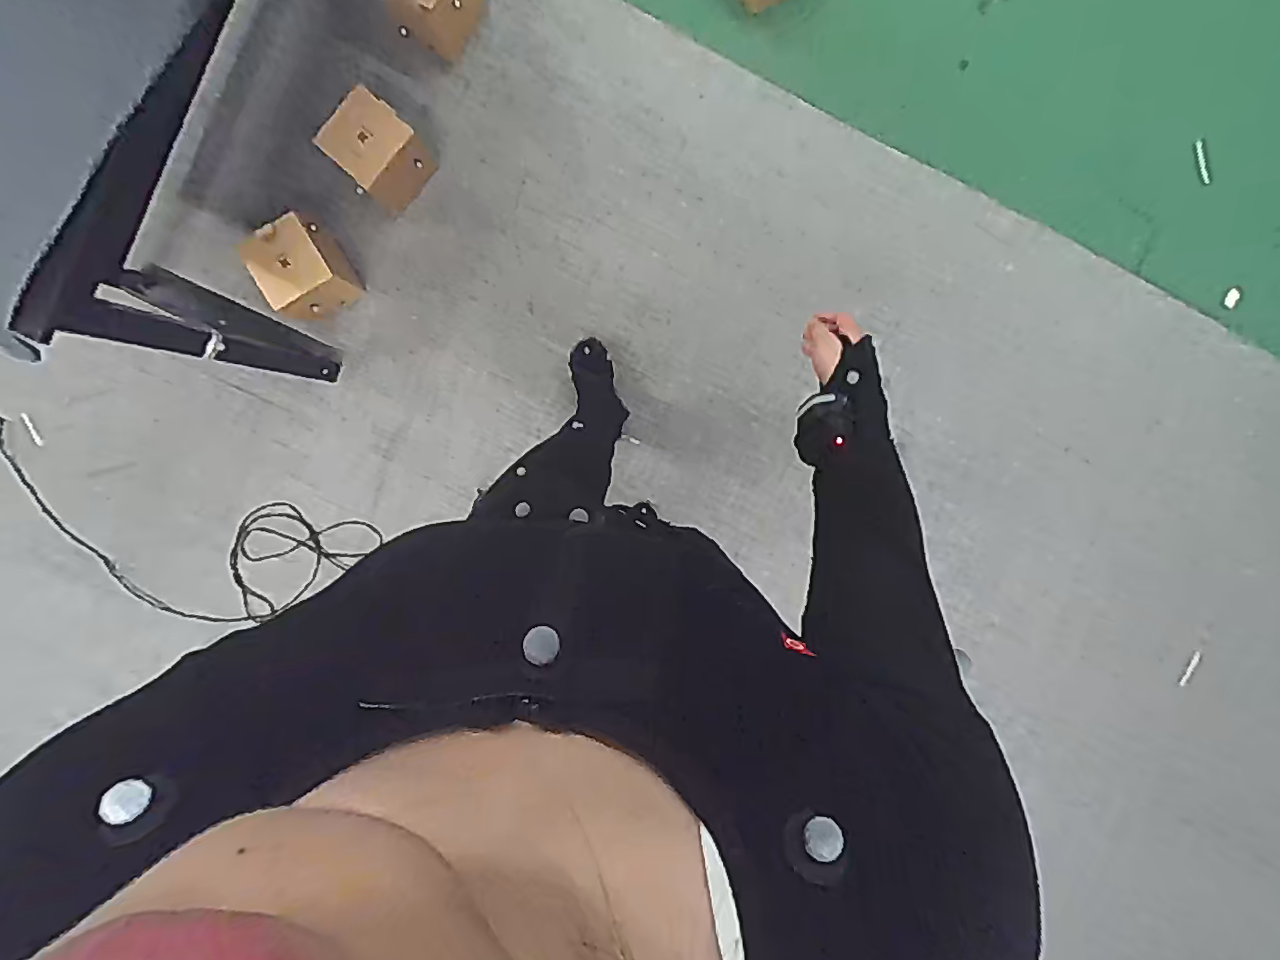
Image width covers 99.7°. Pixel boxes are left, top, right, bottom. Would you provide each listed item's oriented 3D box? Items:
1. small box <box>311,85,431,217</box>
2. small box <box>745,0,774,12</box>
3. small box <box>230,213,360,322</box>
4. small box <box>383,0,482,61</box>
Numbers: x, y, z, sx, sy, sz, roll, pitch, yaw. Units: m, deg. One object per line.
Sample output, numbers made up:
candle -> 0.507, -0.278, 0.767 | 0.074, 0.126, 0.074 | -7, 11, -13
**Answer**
small box -> -0.634, -0.783, 1.307 | 0.168, 0.176, 0.179 | 40, 94, -3
small box -> 0.320, -1.296, 1.299 | 0.179, 0.176, 0.168 | -30, 94, 1
small box -> -0.829, -0.505, 1.323 | 0.168, 0.176, 0.179 | -31, 94, 1
small box -> -0.498, -1.162, 1.283 | 0.168, 0.176, 0.179 | 31, 92, -4
